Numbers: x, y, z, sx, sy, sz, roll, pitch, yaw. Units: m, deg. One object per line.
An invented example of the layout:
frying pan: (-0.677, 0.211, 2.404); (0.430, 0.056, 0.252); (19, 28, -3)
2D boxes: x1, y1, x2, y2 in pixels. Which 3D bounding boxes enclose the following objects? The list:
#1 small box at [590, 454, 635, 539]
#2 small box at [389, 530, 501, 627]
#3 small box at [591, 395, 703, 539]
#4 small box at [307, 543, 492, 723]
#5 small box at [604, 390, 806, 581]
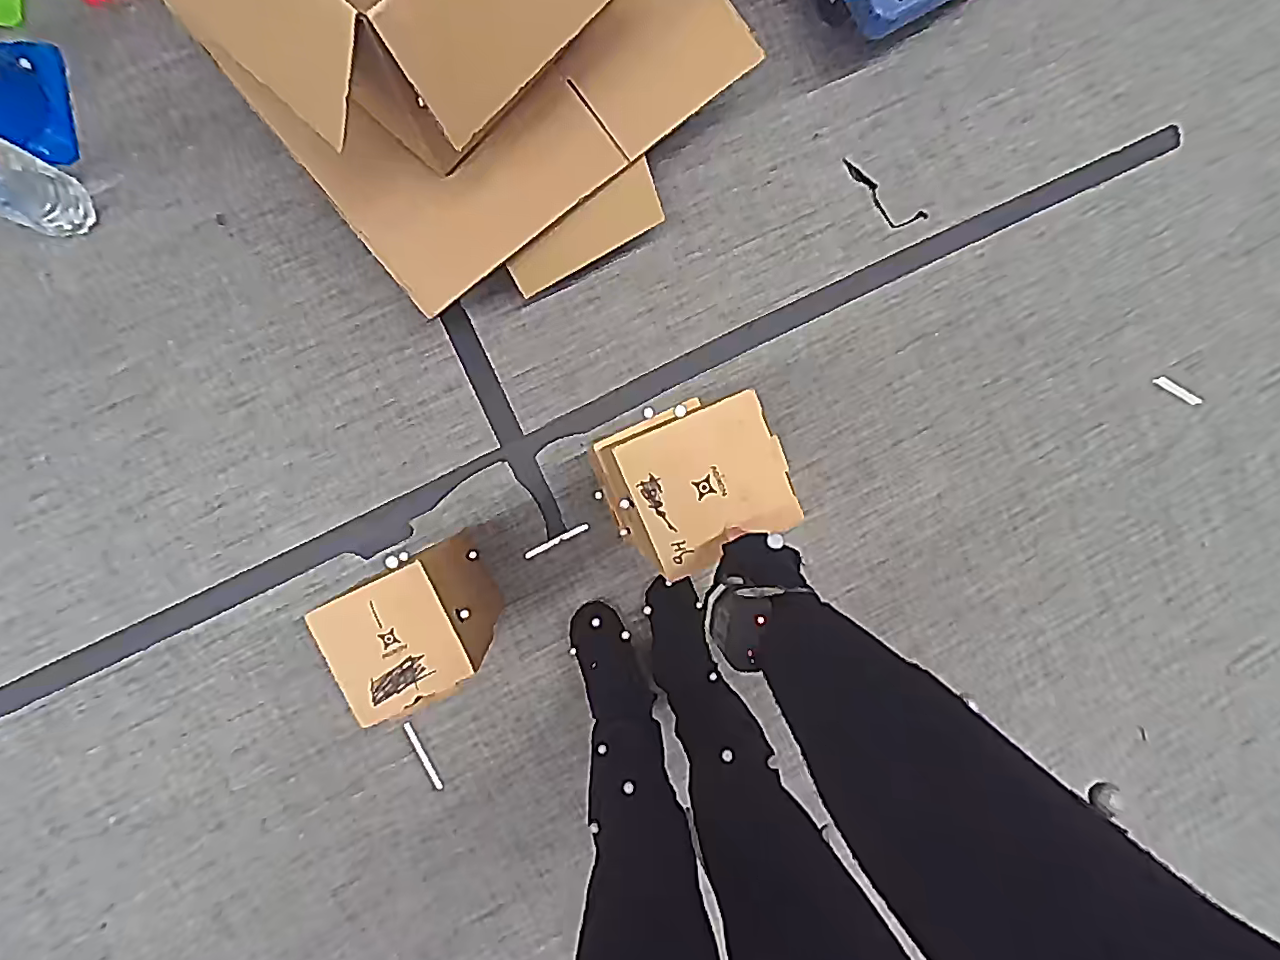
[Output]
small box: (0.017, -0.010, 0.995); (0.179, 0.176, 0.168); (-21, 95, -6)
small box: (-0.362, 0.204, 0.959); (0.179, 0.176, 0.168); (-28, 96, -4)
small box: (0.033, -0.012, 0.833); (0.168, 0.176, 0.179); (-26, 97, -6)
small box: (-0.336, 0.211, 0.797); (0.168, 0.176, 0.179); (-25, 95, -5)
small box: (0.070, 0.000, 0.674); (0.179, 0.176, 0.168); (-24, 97, -7)
